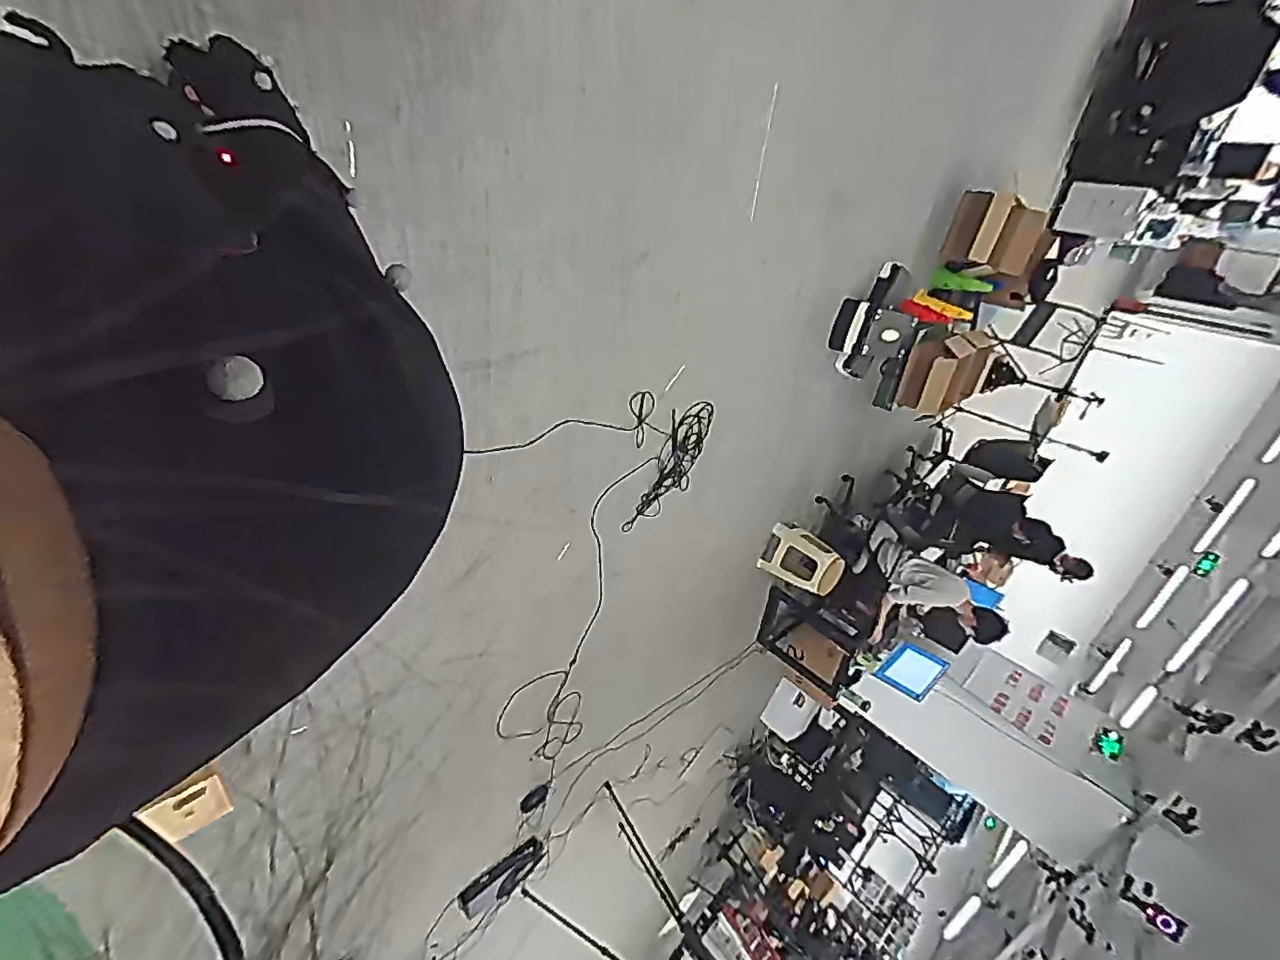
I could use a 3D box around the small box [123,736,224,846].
[{"bbox_3d":[-1.287,0.844,1.491,0.168,0.176,0.179,-20,130,-39],"label":"small box"}]
